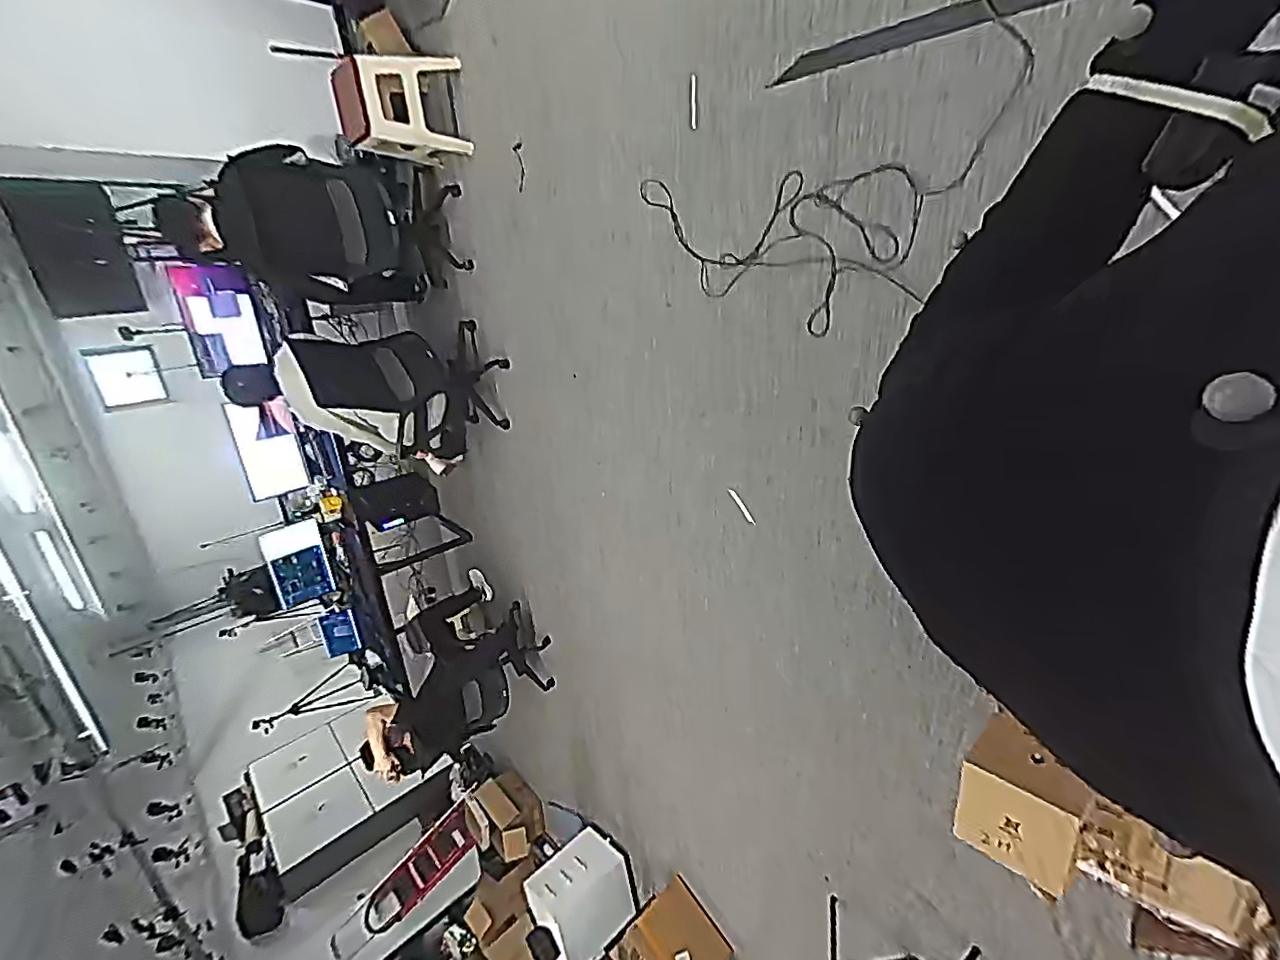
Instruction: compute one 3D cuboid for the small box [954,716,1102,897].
[{"bbox_3d":[0.683,0.558,0.953,0.168,0.176,0.179,16,116,47],"label":"small box"}]
